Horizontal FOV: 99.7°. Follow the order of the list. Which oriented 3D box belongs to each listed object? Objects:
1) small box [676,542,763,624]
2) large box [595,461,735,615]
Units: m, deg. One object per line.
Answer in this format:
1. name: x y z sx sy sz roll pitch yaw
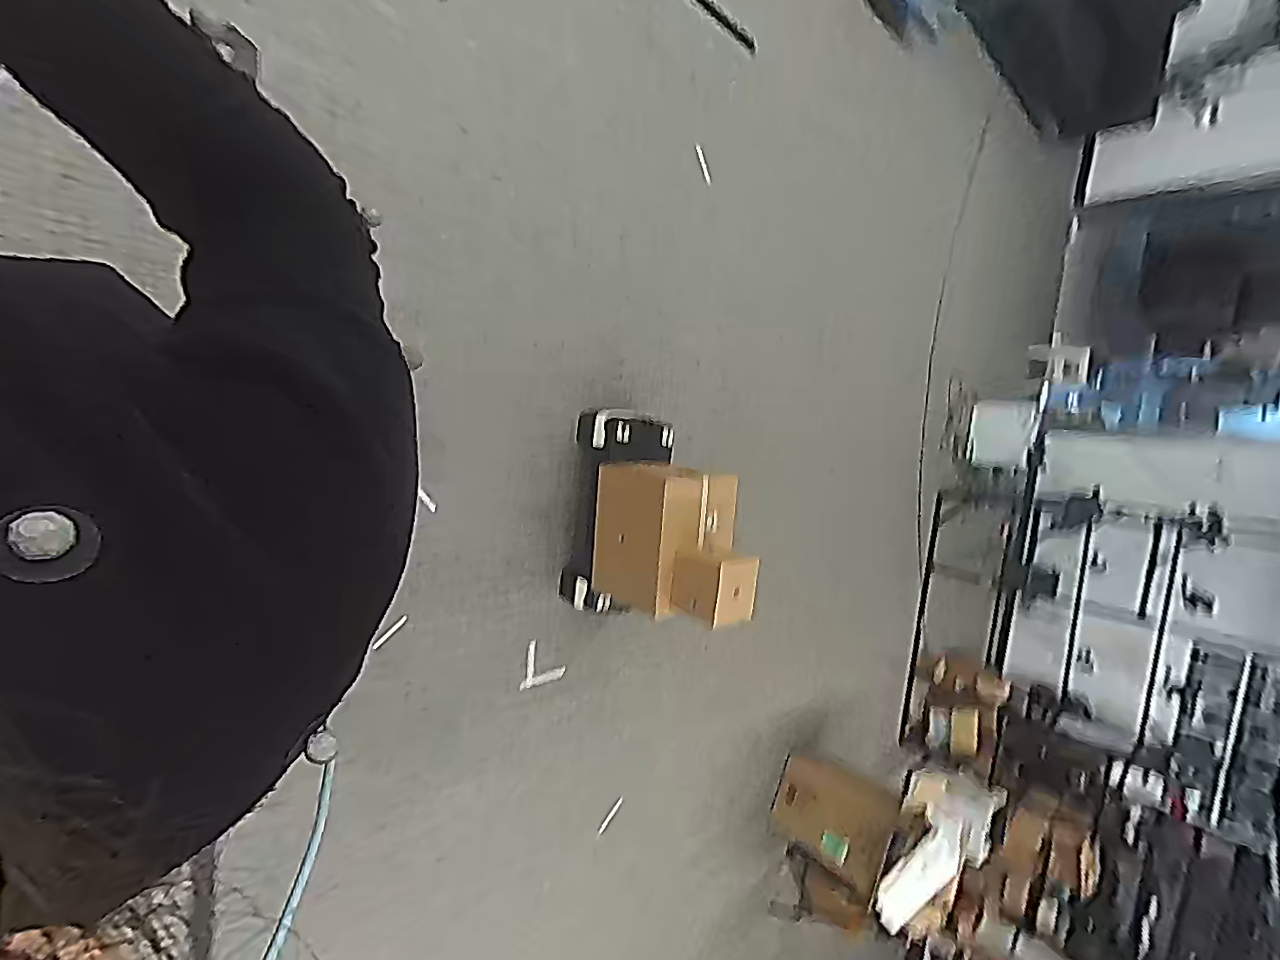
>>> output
1. small box: 0.217 0.280 1.504 0.168 0.176 0.179 1 96 -41
2. large box: 0.074 0.157 1.686 0.320 0.320 0.408 -4 99 -42
